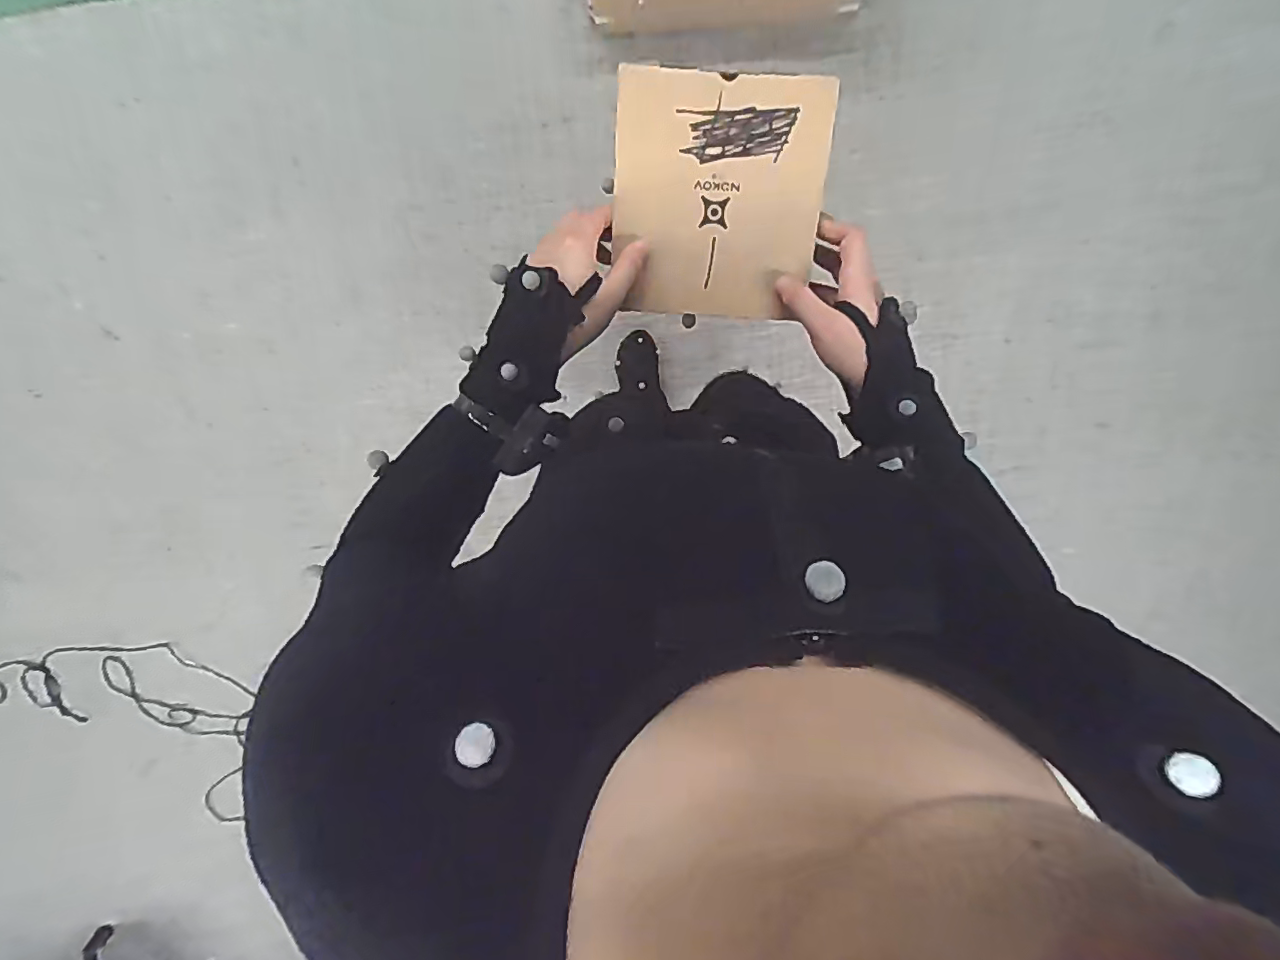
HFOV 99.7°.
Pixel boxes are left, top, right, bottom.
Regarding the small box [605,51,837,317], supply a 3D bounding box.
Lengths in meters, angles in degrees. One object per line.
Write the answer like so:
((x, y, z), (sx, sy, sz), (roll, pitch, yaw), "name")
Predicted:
((0.059, -0.249, 0.494), (0.168, 0.176, 0.179), (4, 110, 1), "small box")
